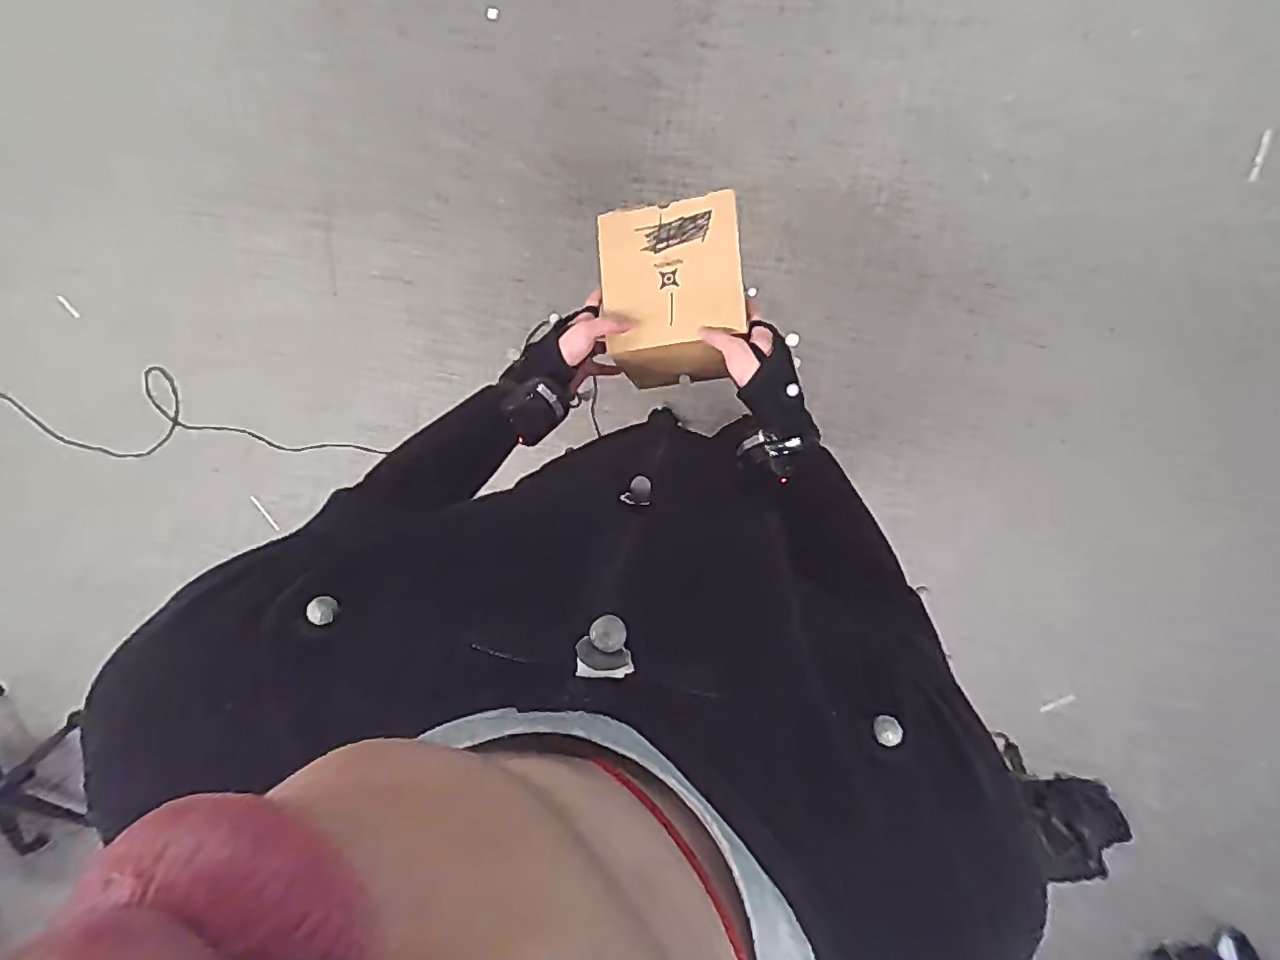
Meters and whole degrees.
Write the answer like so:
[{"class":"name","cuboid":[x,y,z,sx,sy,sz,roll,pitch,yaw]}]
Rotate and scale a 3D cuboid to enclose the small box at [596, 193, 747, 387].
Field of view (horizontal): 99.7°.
[{"class":"small box","cuboid":[0.049,-0.237,0.717,0.168,0.176,0.179,-6,84,14]}]
